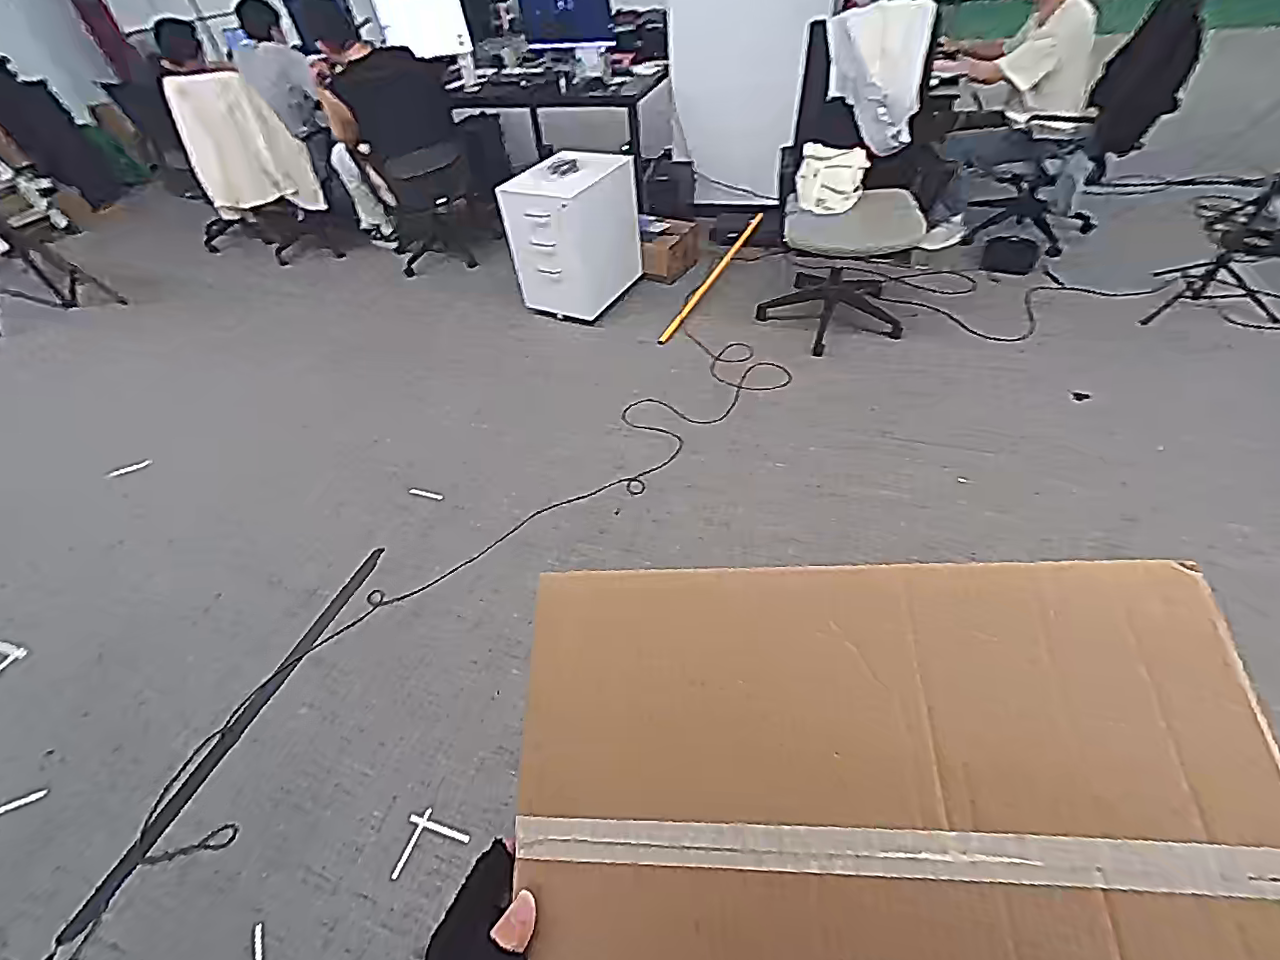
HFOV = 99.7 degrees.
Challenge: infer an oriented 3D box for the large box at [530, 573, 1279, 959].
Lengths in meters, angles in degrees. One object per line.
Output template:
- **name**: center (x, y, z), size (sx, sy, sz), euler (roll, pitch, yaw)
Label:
- **large box**: center (0.154, 0.270, 0.433), size (0.408, 0.320, 0.320), euler (-3, 67, 8)
